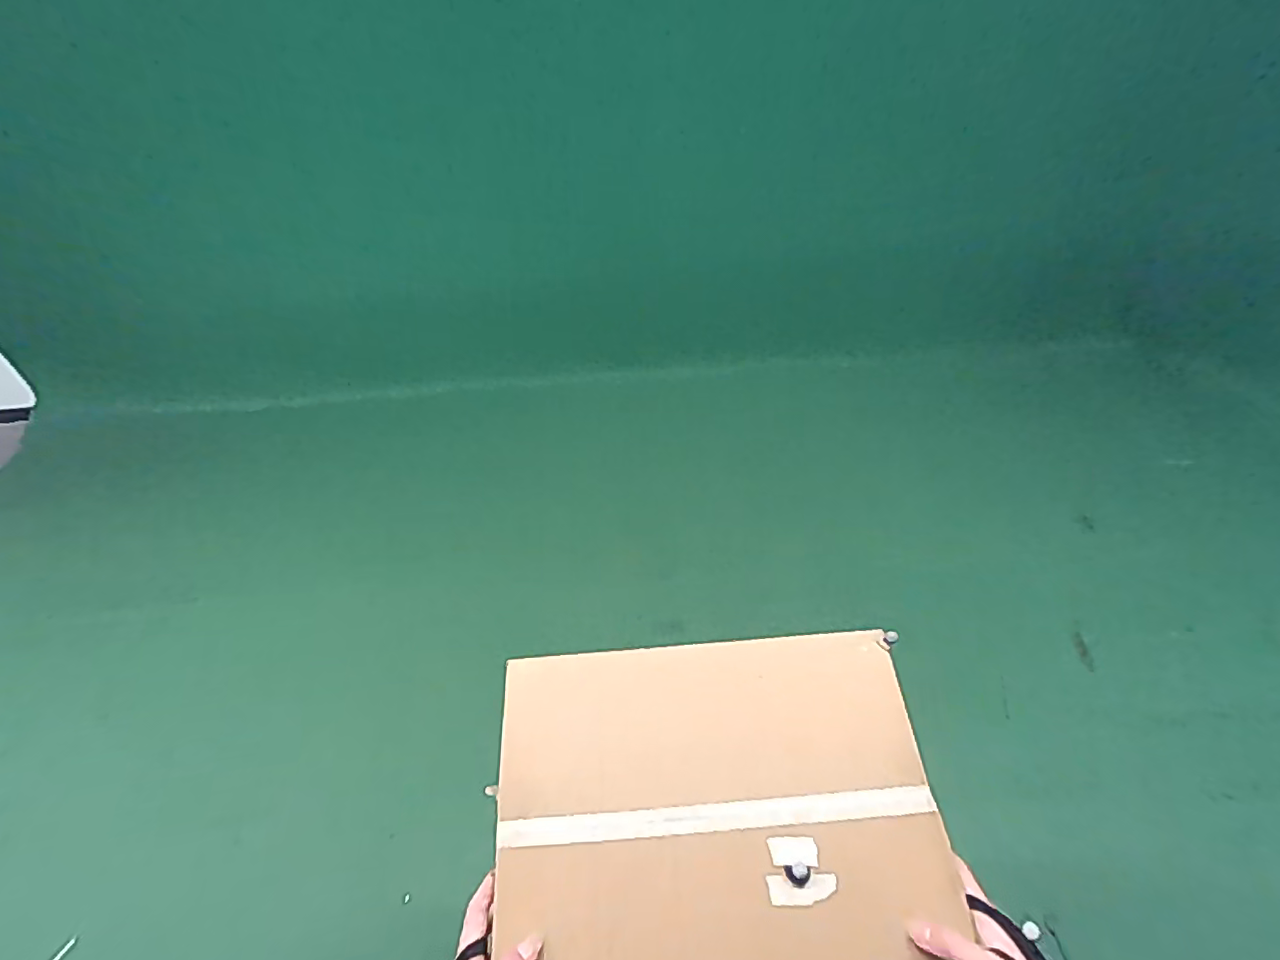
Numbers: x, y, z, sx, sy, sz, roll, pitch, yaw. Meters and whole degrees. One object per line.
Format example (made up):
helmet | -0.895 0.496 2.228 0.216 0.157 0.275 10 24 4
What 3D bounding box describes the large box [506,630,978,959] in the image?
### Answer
large box | 0.078 0.391 0.637 0.408 0.320 0.320 -5 60 0
